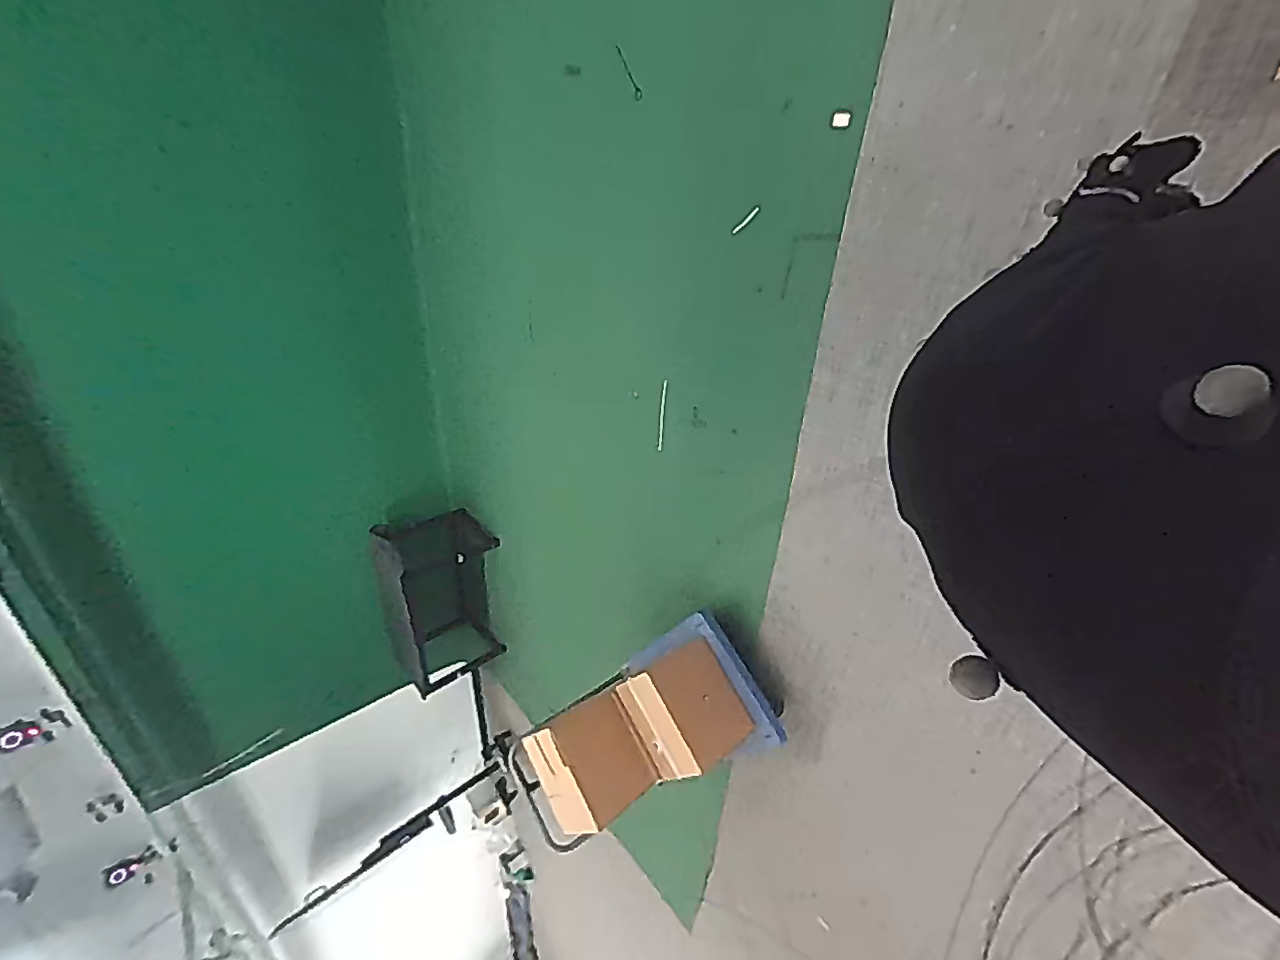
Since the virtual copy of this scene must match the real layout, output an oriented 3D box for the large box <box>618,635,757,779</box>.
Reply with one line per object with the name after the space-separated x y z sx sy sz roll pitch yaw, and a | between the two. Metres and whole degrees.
0.182 0.897 2.152 0.408 0.320 0.320 58 143 14 | large box
